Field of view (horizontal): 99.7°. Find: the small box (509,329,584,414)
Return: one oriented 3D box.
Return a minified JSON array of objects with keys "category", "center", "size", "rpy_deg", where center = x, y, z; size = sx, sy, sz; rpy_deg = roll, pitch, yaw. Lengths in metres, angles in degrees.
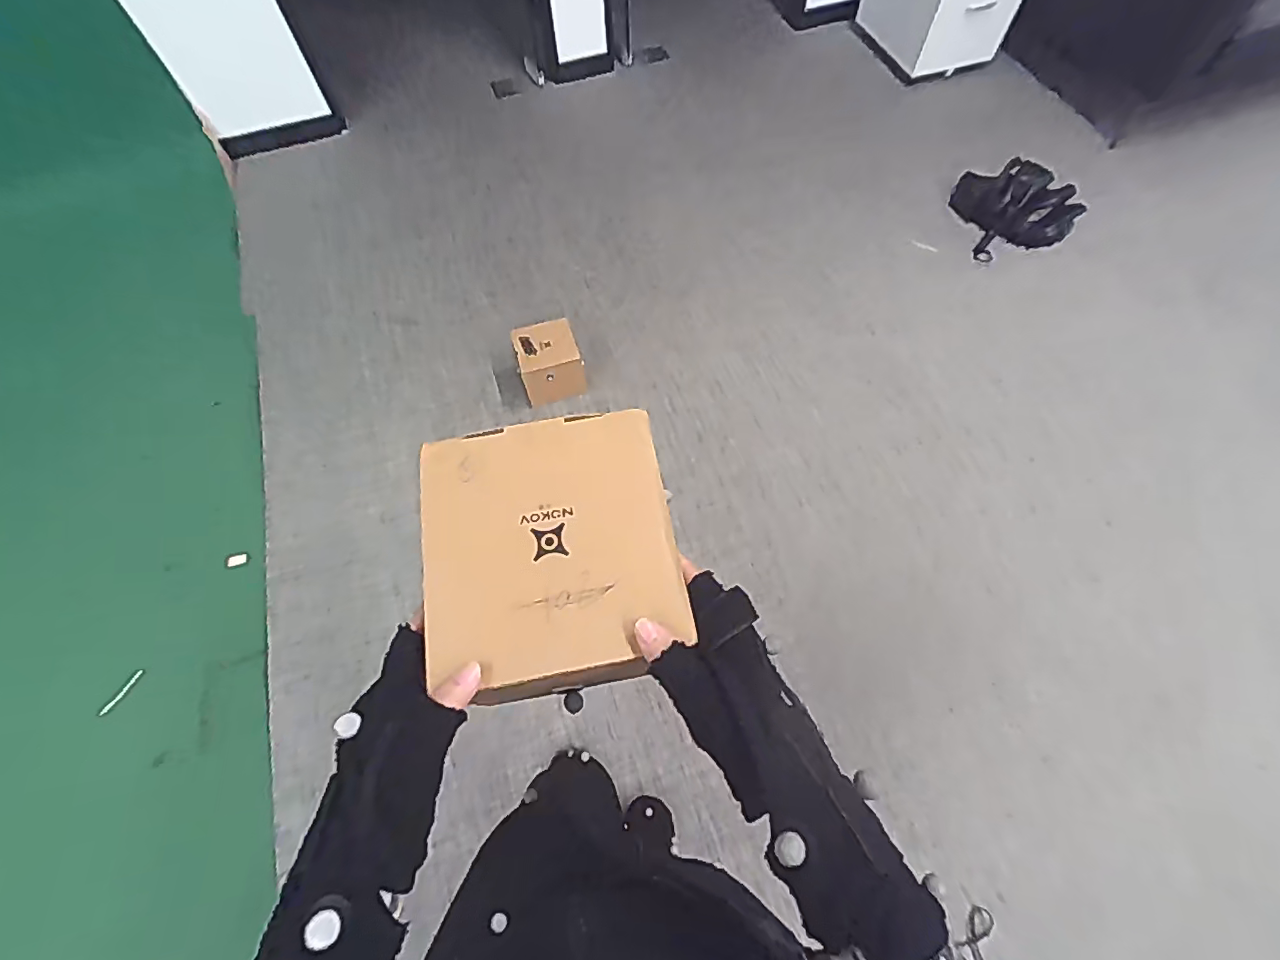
[{"category":"small box","center":[-0.283,-0.326,1.652],"size":[0.179,0.176,0.168],"rpy_deg":[-17,65,-8]}]

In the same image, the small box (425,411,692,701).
[{"category":"small box","center":[-0.063,0.070,0.438],"size":[0.168,0.176,0.179],"rpy_deg":[-10,66,-5]}]
